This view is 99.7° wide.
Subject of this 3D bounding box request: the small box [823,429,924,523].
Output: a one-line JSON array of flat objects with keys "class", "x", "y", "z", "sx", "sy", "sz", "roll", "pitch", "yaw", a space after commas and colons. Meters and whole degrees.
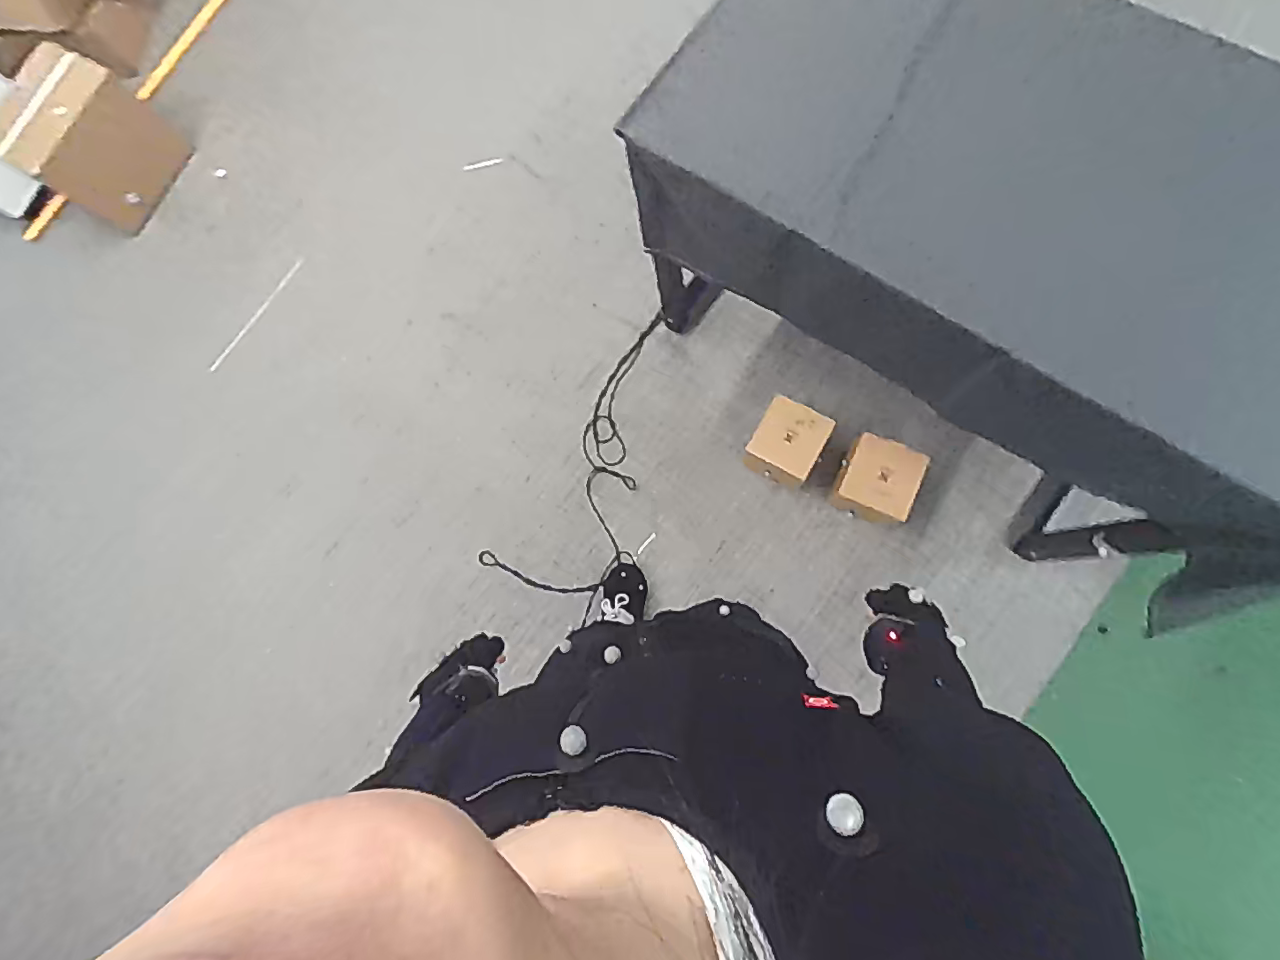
[{"class": "small box", "x": 0.591, "y": -0.003, "z": 1.391, "sx": 0.168, "sy": 0.176, "sz": 0.179, "roll": 24, "pitch": 83, "yaw": 11}]
